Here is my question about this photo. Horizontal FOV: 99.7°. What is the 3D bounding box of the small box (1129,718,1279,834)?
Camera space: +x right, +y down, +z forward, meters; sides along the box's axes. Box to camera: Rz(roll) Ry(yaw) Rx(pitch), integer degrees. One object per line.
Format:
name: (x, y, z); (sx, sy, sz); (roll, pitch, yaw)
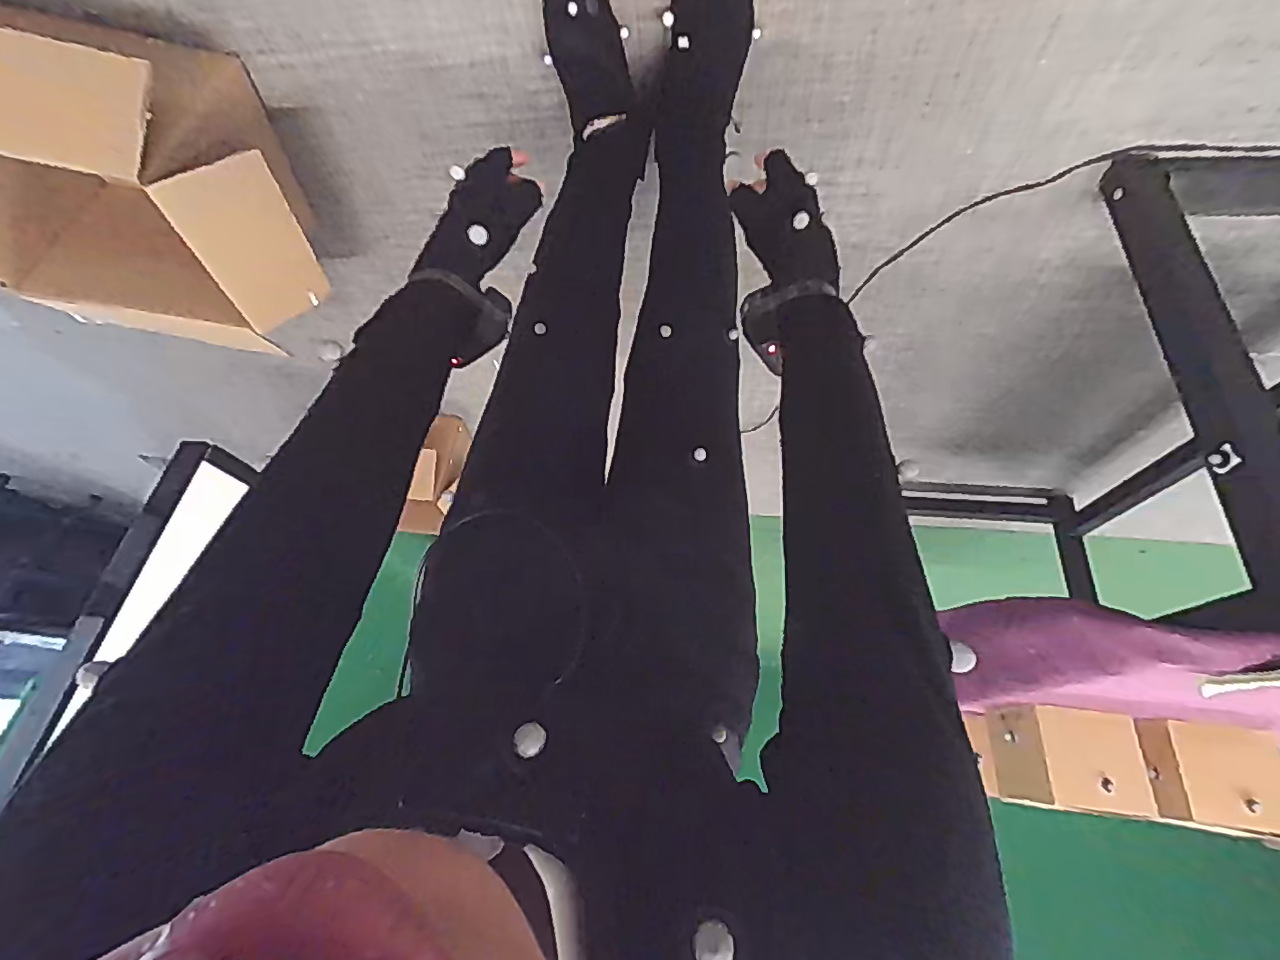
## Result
small box: (1.031, 0.540, 0.999); (0.179, 0.176, 0.168); (3, 153, 8)

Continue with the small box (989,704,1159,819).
small box: (0.804, 0.525, 1.025); (0.179, 0.176, 0.168); (6, 153, 4)
